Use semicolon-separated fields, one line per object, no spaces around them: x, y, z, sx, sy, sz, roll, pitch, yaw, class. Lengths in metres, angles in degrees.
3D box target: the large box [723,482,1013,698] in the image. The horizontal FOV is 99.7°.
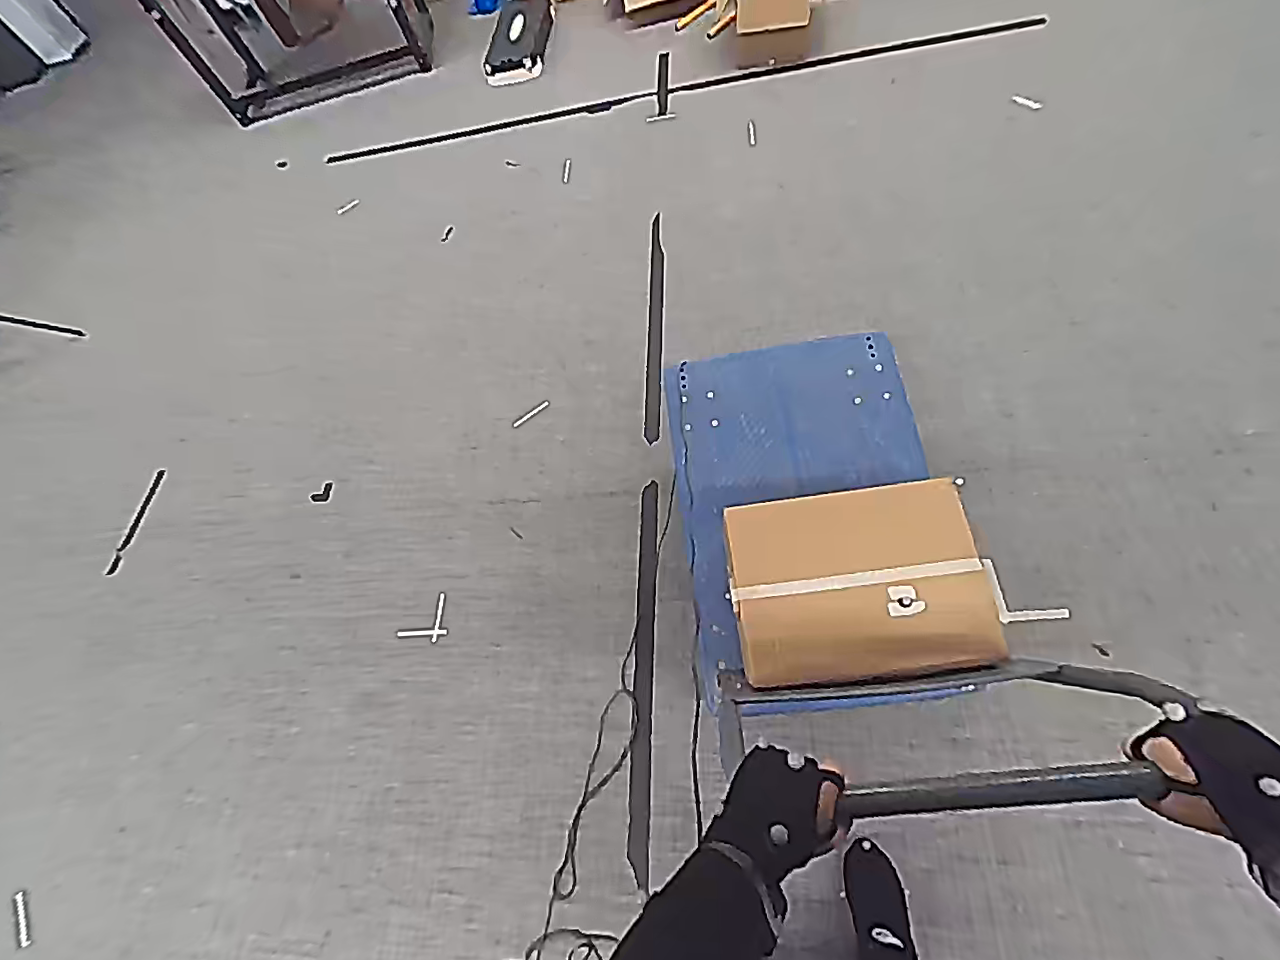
0.384;0.225;1.037;0.408;0.320;0.320;-8;71;6;large box
